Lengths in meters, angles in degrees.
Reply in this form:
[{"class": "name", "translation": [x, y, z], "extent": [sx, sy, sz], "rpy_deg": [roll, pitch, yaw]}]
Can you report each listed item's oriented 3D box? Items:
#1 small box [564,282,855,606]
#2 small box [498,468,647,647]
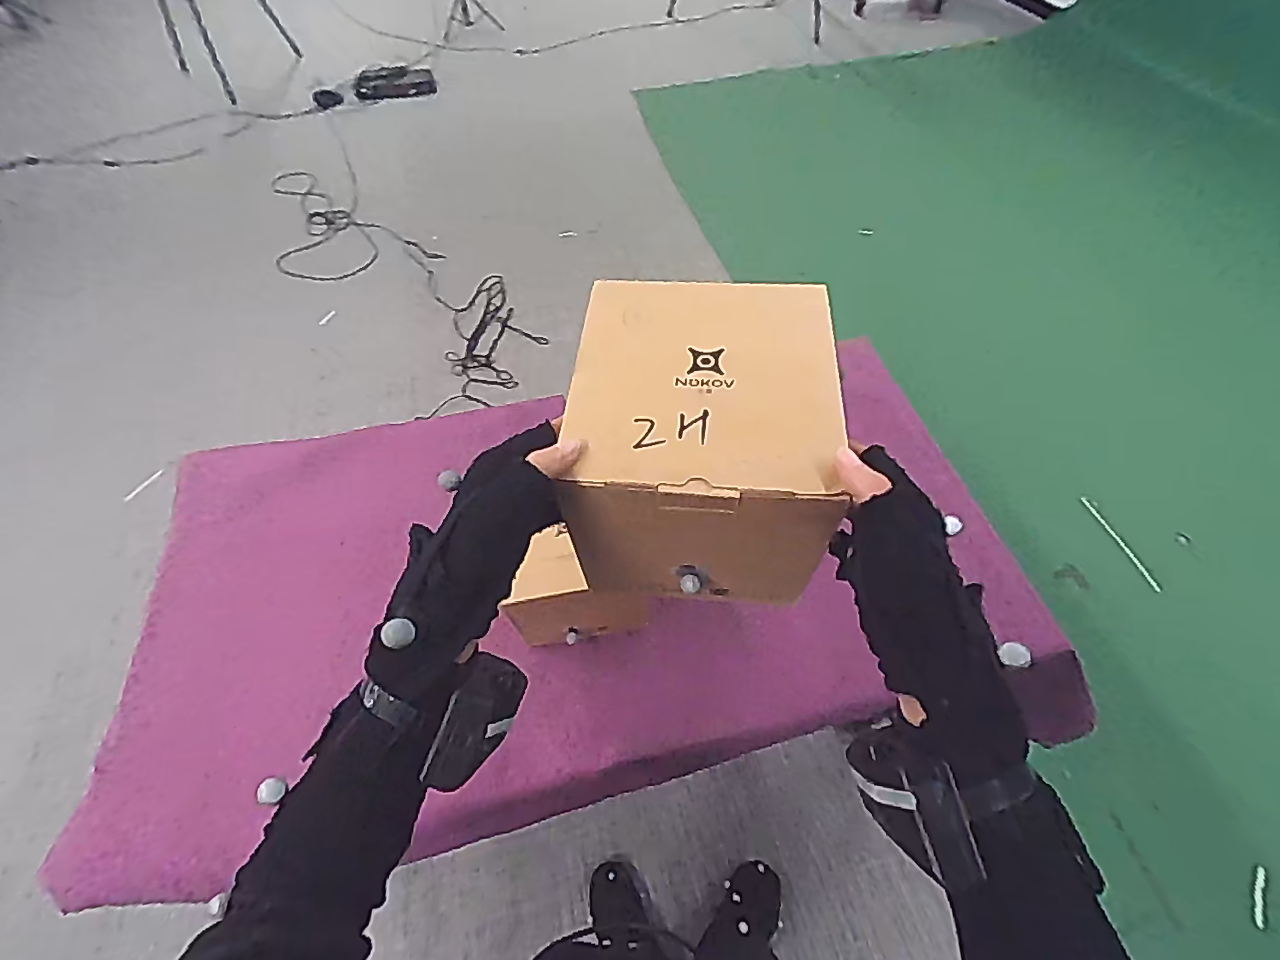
[{"class": "small box", "translation": [0.050, -0.024, 0.412], "extent": [0.168, 0.176, 0.179], "rpy_deg": [4, 57, 6]}, {"class": "small box", "translation": [-0.085, 0.100, 0.714], "extent": [0.168, 0.176, 0.179], "rpy_deg": [-9, 57, -3]}]
